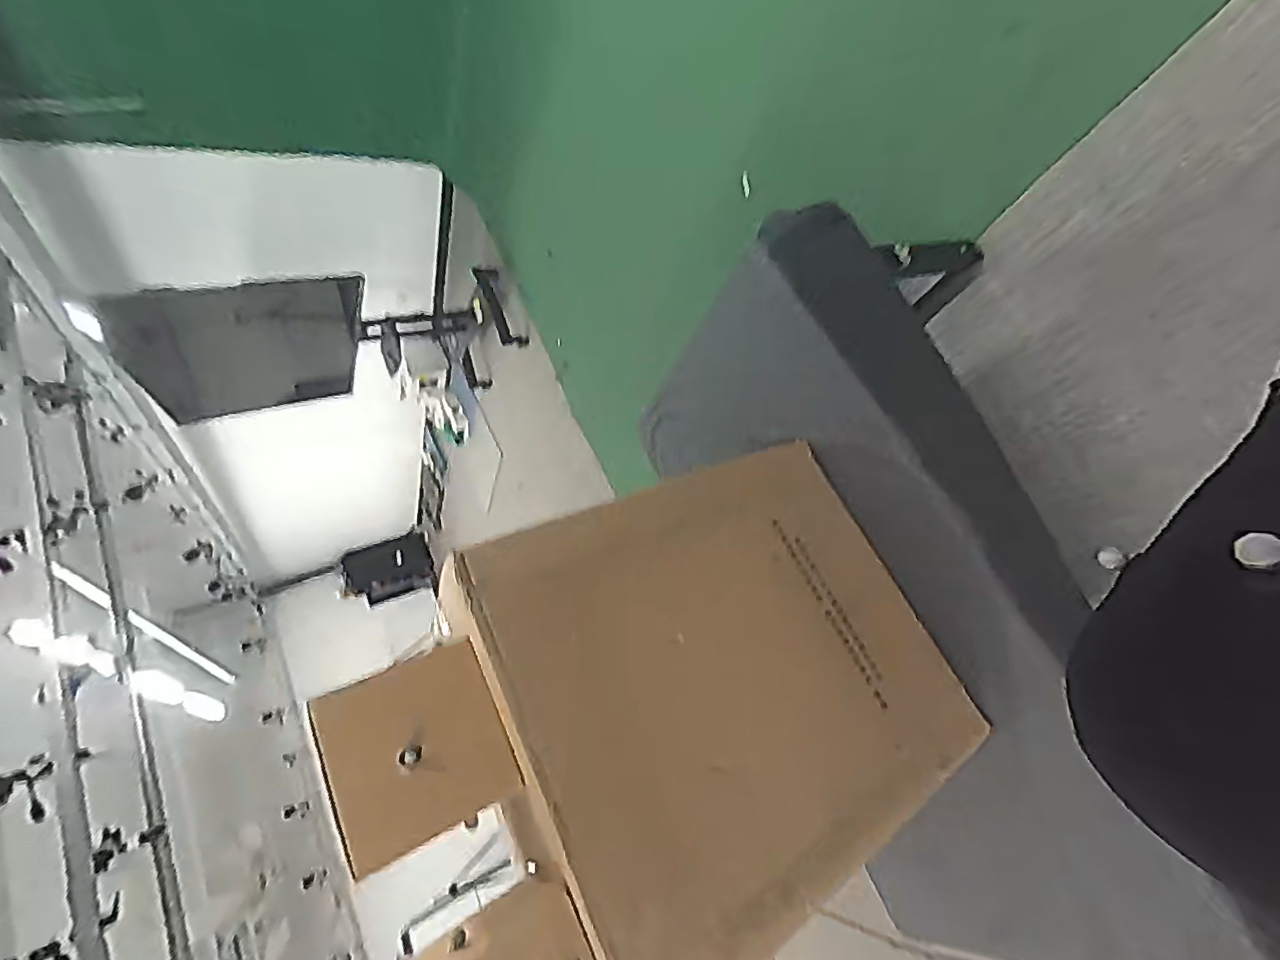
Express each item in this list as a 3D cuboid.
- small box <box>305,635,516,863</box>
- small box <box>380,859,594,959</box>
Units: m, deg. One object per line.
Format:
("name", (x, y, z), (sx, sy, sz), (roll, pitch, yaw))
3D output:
("small box", (-0.265, 0.297, 0.624), (0.179, 0.176, 0.168), (62, 145, 17))
("small box", (-0.143, 0.516, 0.542), (0.168, 0.176, 0.179), (61, 144, 17))
